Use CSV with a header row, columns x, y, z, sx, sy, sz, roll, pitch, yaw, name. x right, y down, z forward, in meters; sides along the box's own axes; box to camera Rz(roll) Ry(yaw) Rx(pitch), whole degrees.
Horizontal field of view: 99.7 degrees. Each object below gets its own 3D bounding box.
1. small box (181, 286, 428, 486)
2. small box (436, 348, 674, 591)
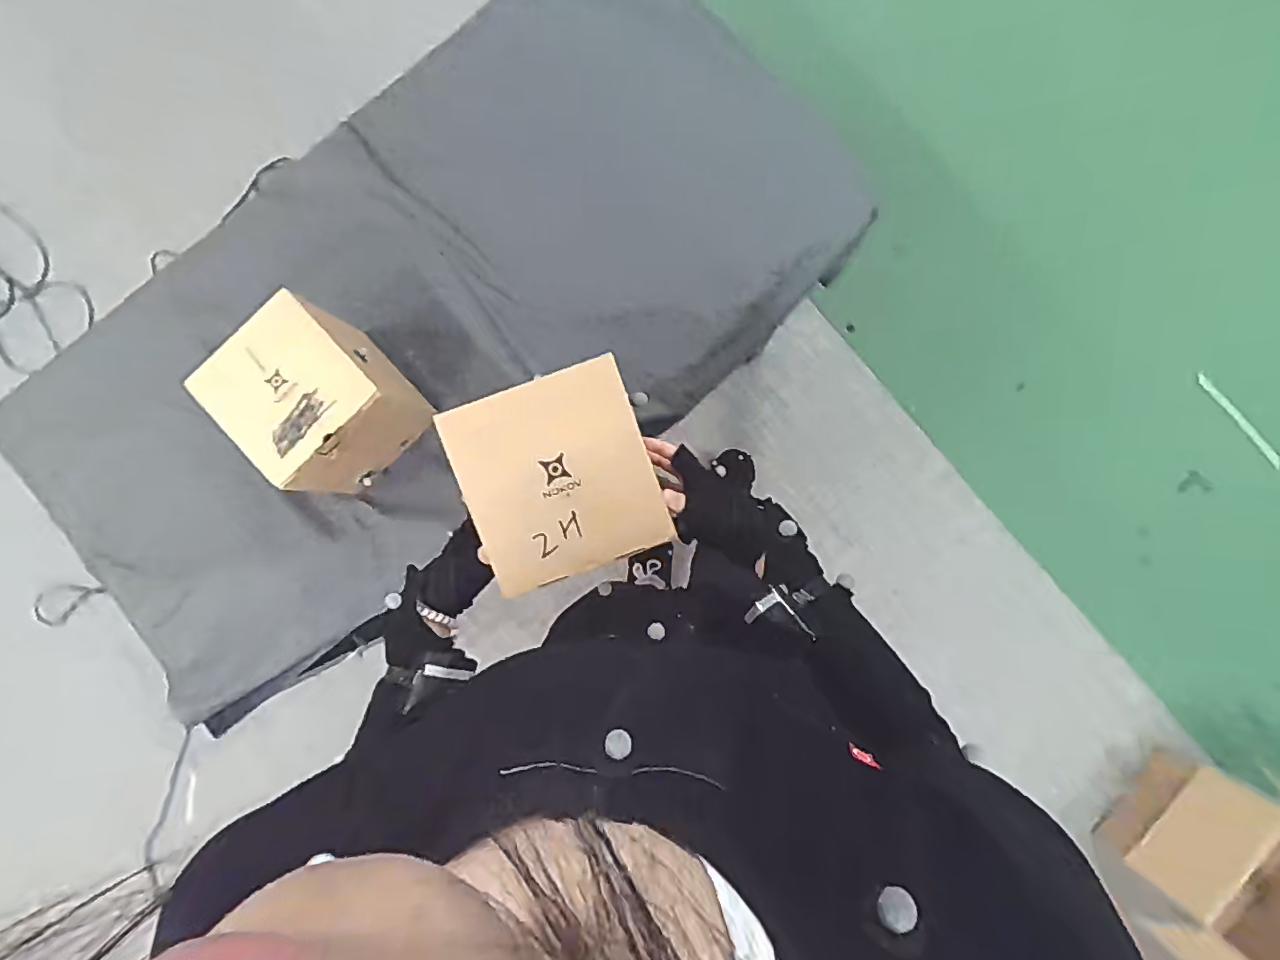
x,y,z,sx,sy,sz,roll,pitch,yaw,name
-0.415,-0.108,0.703,0.168,0.176,0.179,-44,86,0,small box
-0.076,-0.014,0.548,0.168,0.176,0.179,-19,97,0,small box
